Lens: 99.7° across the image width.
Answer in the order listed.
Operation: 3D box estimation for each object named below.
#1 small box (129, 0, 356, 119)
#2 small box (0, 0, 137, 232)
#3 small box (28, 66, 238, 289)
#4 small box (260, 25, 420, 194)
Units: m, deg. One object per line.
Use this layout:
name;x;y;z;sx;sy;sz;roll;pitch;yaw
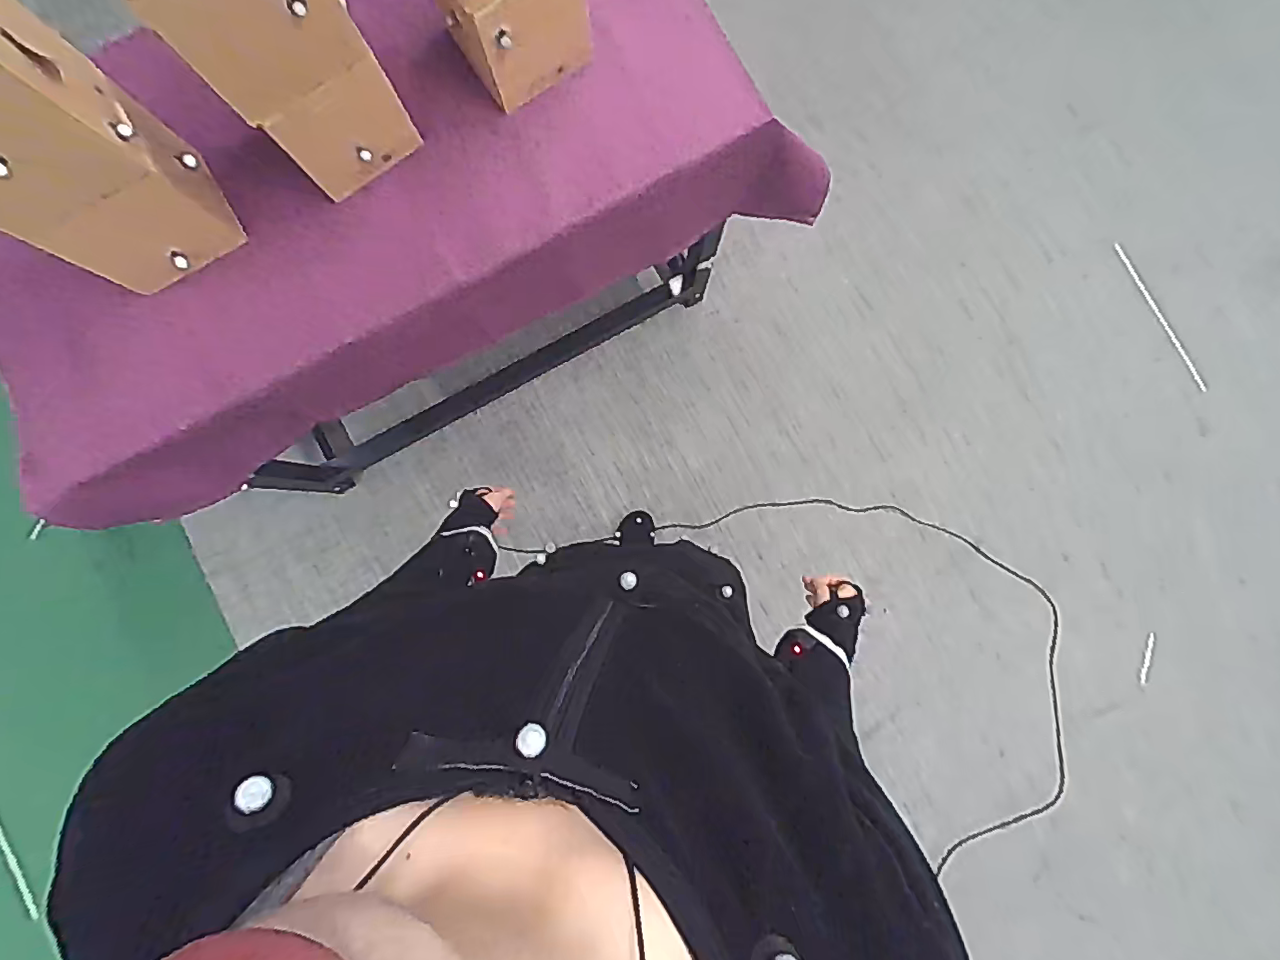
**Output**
small box;-0.449;-0.556;0.592;0.179;0.176;0.168;-34;86;-1
small box;-0.706;-0.411;0.582;0.179;0.176;0.168;-30;87;-1
small box;-0.707;-0.401;0.746;0.179;0.176;0.168;-30;87;-2
small box;-0.448;-0.550;0.756;0.168;0.176;0.179;-35;88;-1
